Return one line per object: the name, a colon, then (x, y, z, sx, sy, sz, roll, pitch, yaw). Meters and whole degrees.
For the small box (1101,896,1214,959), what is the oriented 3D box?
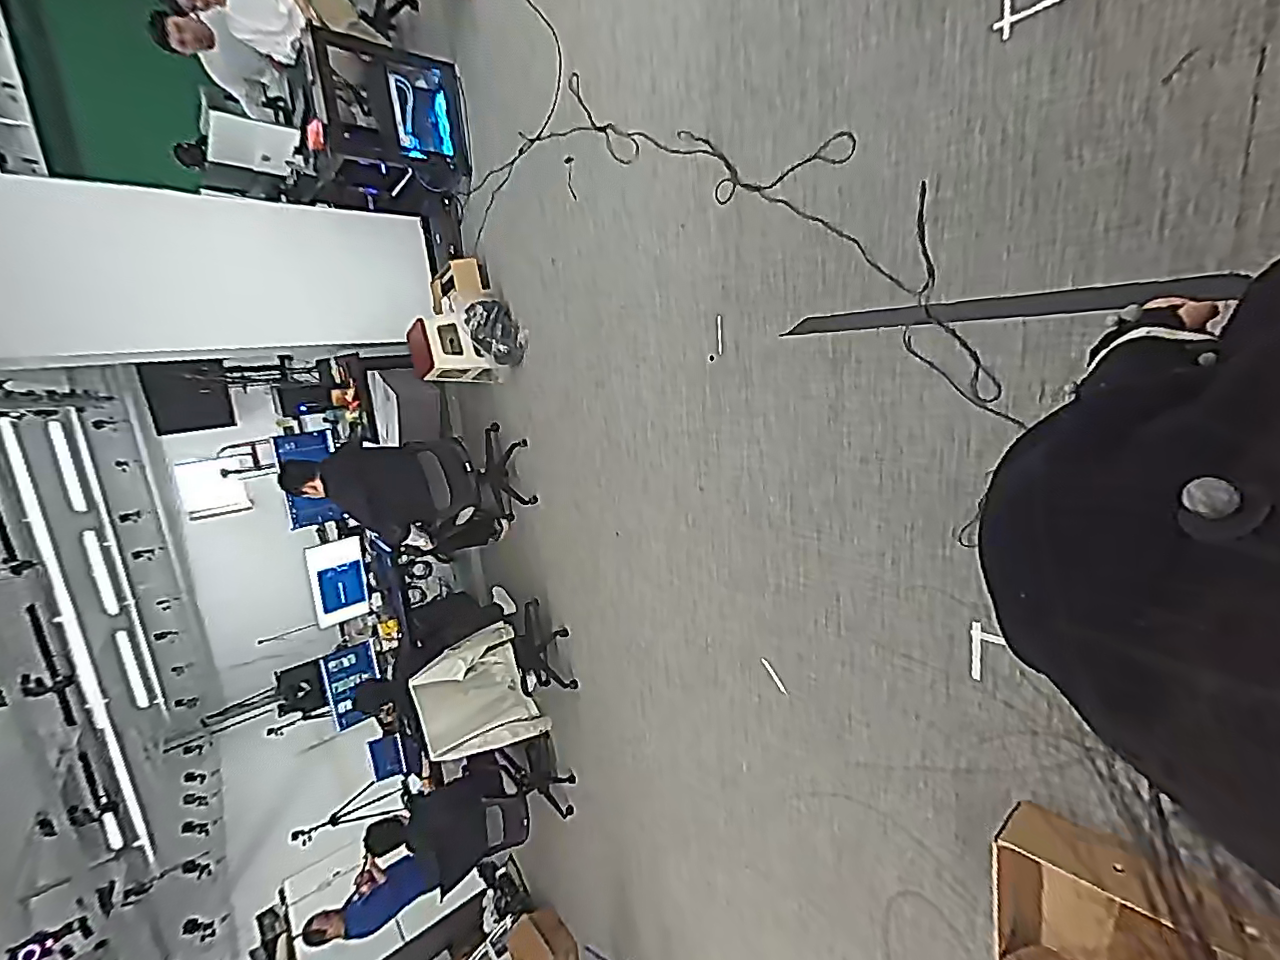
small box: (1.159, 1.103, 1.210, 0.168, 0.176, 0.179, 2, 103, 50)
